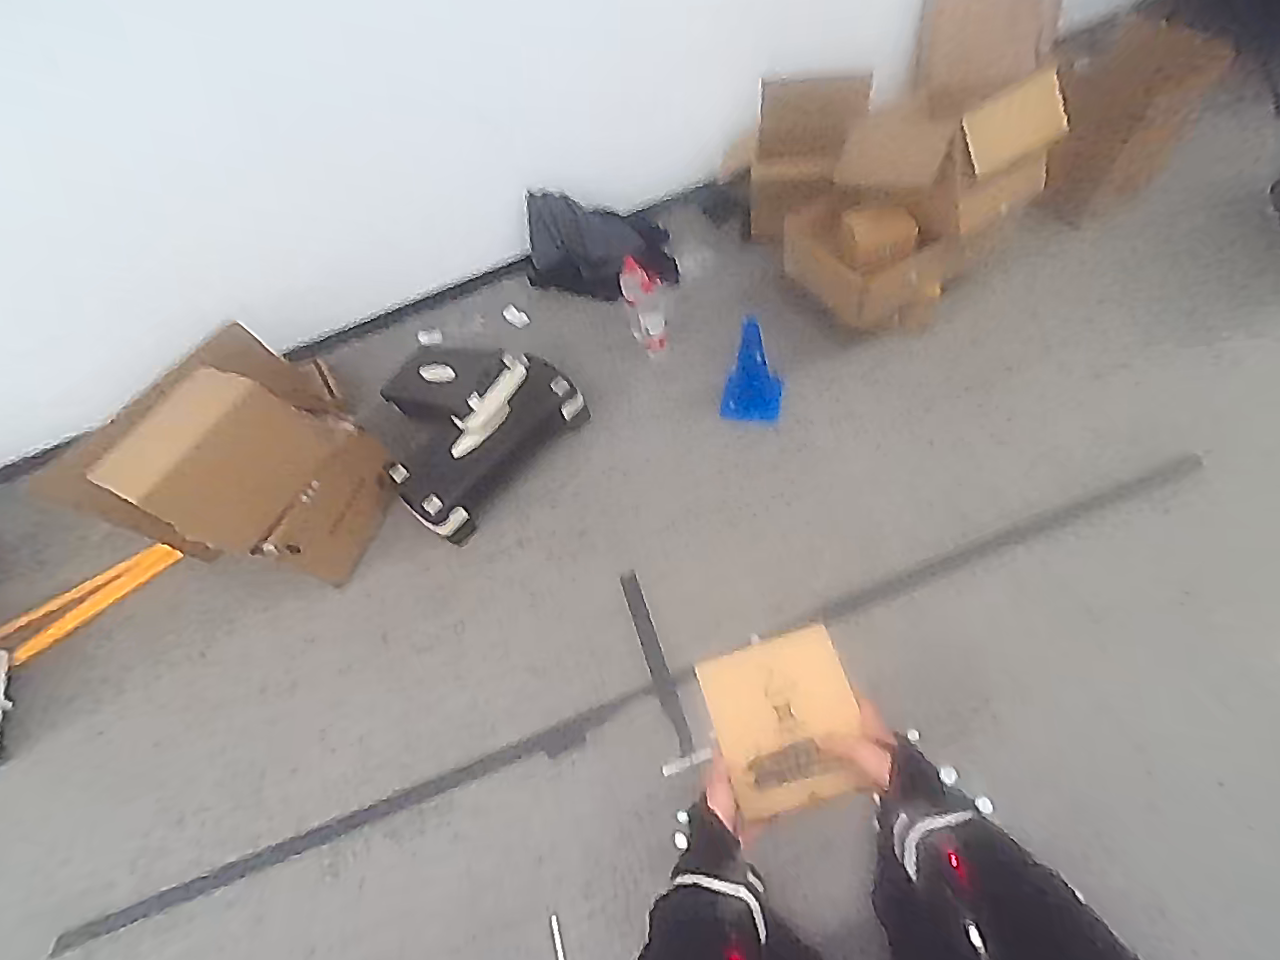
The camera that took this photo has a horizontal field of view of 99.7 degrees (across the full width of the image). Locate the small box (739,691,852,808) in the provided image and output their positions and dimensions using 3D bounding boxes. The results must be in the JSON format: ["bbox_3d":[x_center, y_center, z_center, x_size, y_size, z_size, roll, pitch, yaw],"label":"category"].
[{"bbox_3d":[0.312,0.562,1.123,0.168,0.176,0.179,-19,59,1],"label":"small box"}]
